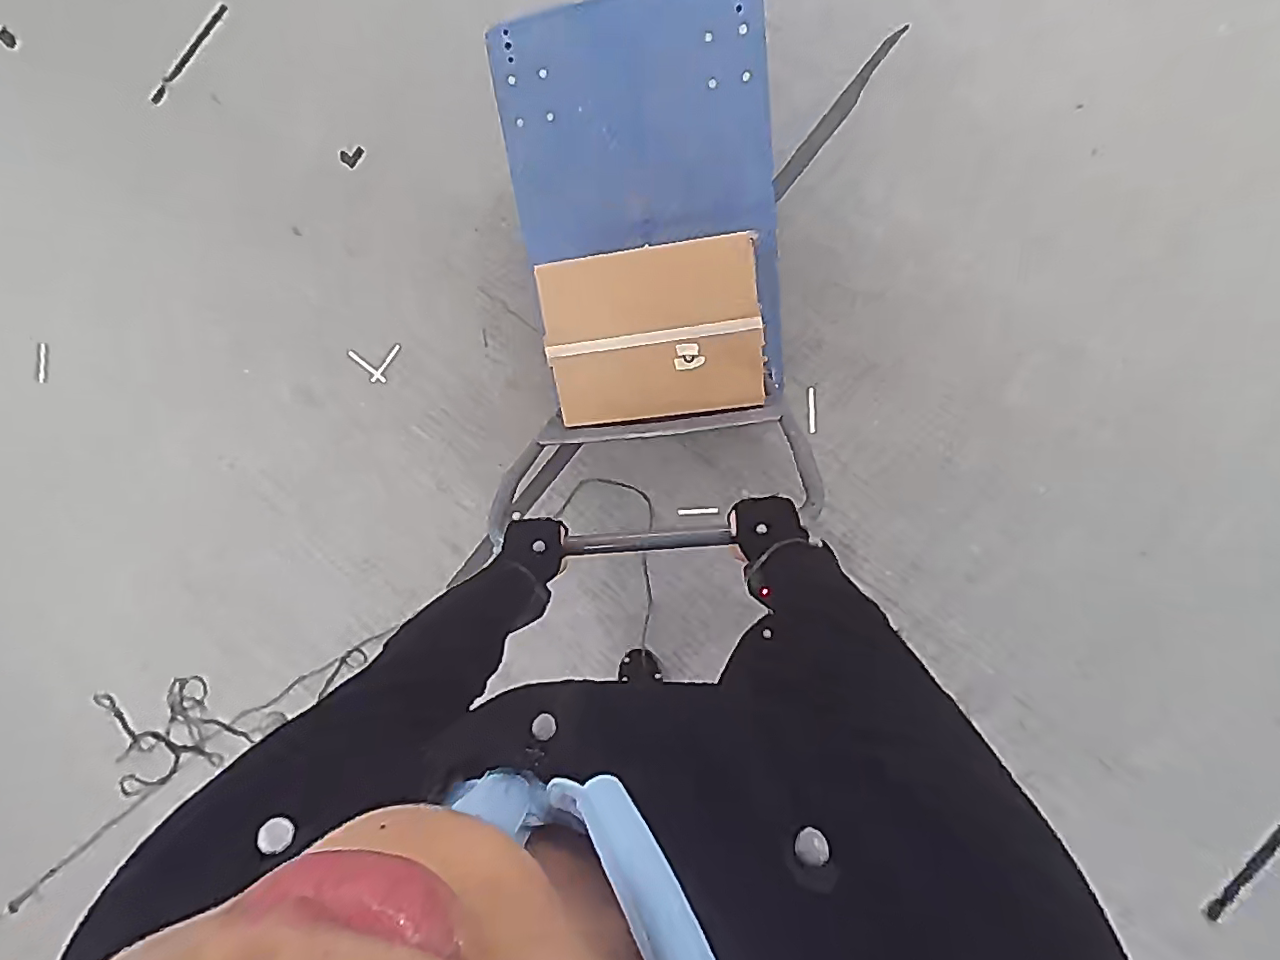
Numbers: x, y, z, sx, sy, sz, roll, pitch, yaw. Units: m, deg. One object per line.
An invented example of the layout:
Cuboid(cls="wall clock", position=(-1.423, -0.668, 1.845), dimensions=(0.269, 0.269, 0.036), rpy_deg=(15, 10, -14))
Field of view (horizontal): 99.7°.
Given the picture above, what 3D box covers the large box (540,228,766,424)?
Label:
Cuboid(cls="large box", position=(0.040, -0.331, 1.177), dimensions=(0.408, 0.320, 0.320), rpy_deg=(-7, 110, 8))
